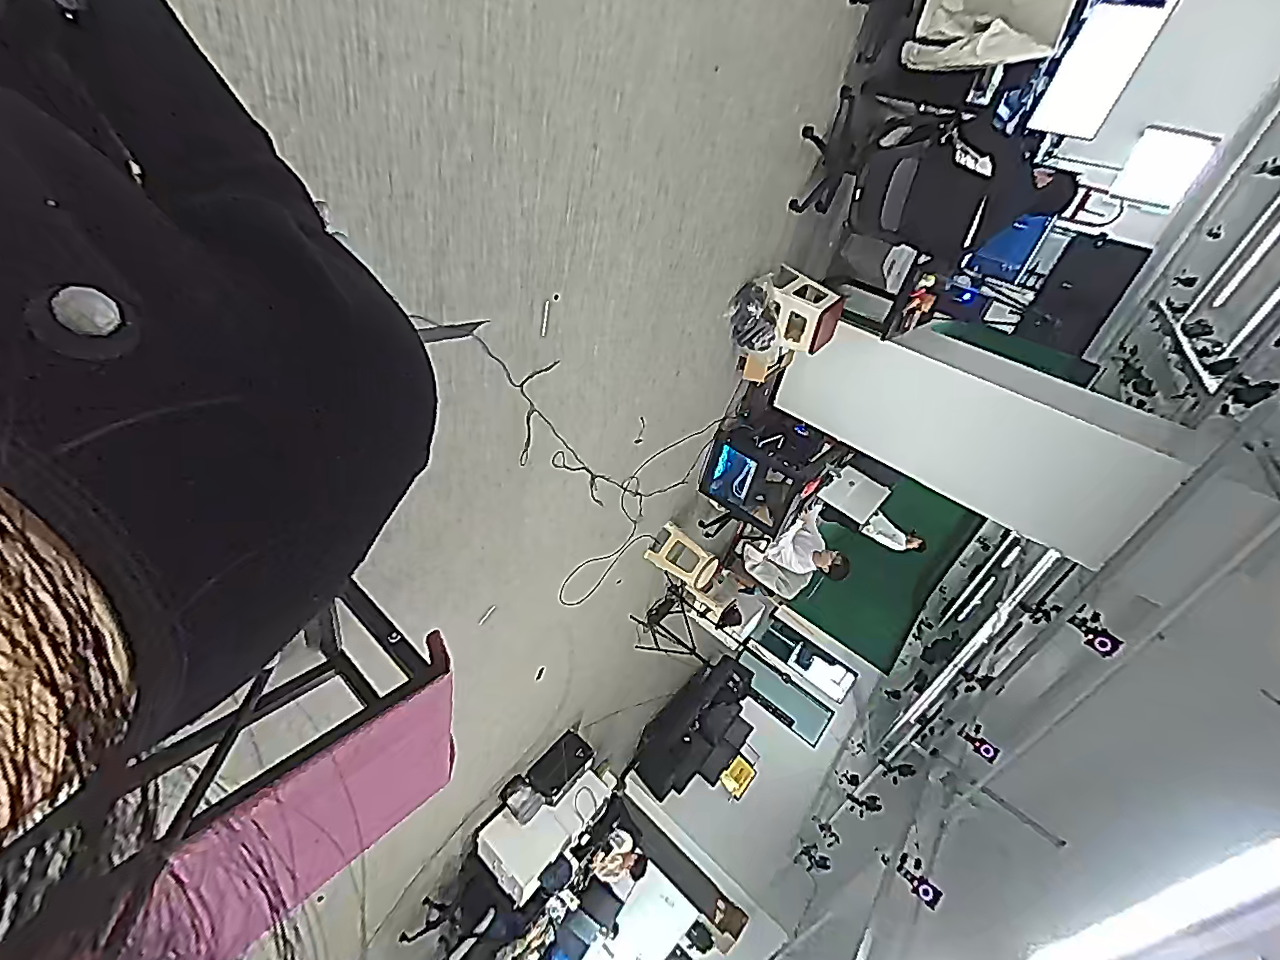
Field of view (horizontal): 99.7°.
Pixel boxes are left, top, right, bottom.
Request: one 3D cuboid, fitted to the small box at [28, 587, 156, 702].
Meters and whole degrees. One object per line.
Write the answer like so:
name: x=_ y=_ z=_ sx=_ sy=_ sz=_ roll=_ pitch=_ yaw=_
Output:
small box: x=-1.363 y=0.403 z=1.349 sx=0.168 sy=0.176 sz=0.179 roll=-29 pitch=142 yaw=-45
